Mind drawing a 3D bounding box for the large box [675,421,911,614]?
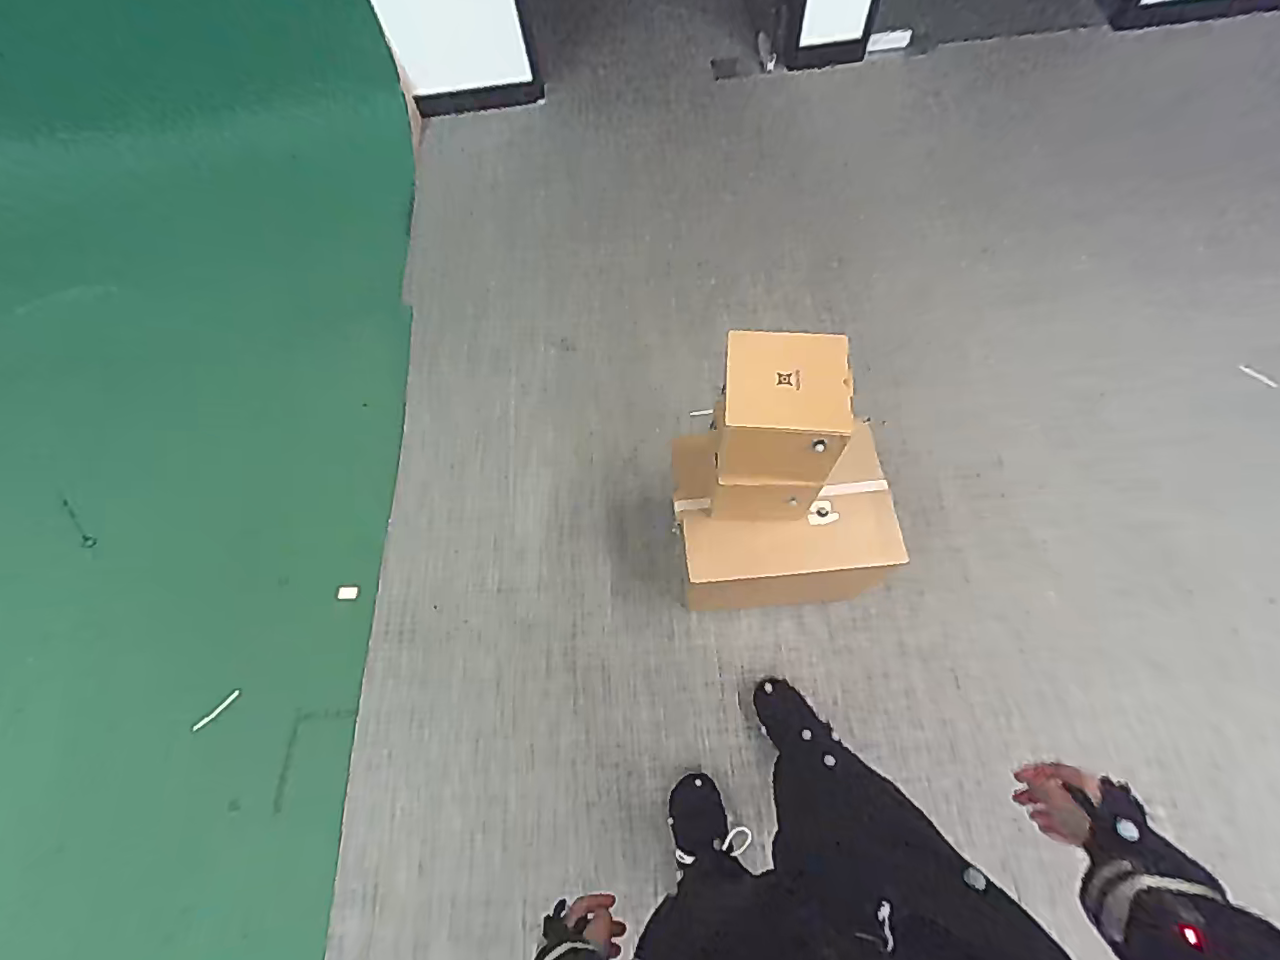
[{"bbox_3d":[0.295,0.097,1.186,0.408,0.320,0.320,-5,67,1],"label":"large box"}]

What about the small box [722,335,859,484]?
[{"bbox_3d":[0.221,-0.103,0.835,0.179,0.176,0.168,4,66,5],"label":"small box"}]
